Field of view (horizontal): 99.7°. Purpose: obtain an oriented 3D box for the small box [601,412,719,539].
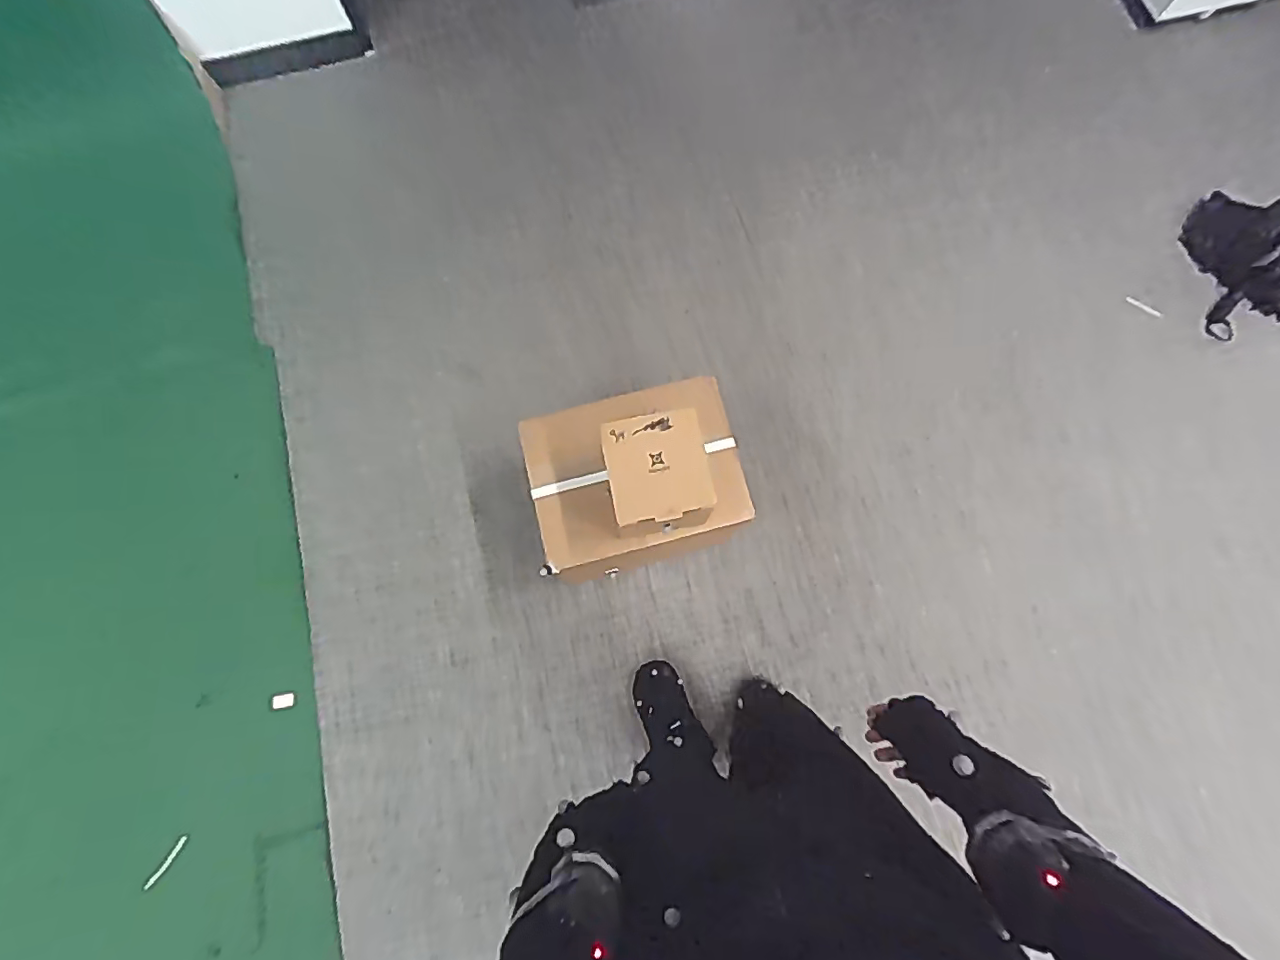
[{"bbox_3d":[0.034,0.002,0.953,0.168,0.176,0.179,-13,77,-2],"label":"small box"}]
